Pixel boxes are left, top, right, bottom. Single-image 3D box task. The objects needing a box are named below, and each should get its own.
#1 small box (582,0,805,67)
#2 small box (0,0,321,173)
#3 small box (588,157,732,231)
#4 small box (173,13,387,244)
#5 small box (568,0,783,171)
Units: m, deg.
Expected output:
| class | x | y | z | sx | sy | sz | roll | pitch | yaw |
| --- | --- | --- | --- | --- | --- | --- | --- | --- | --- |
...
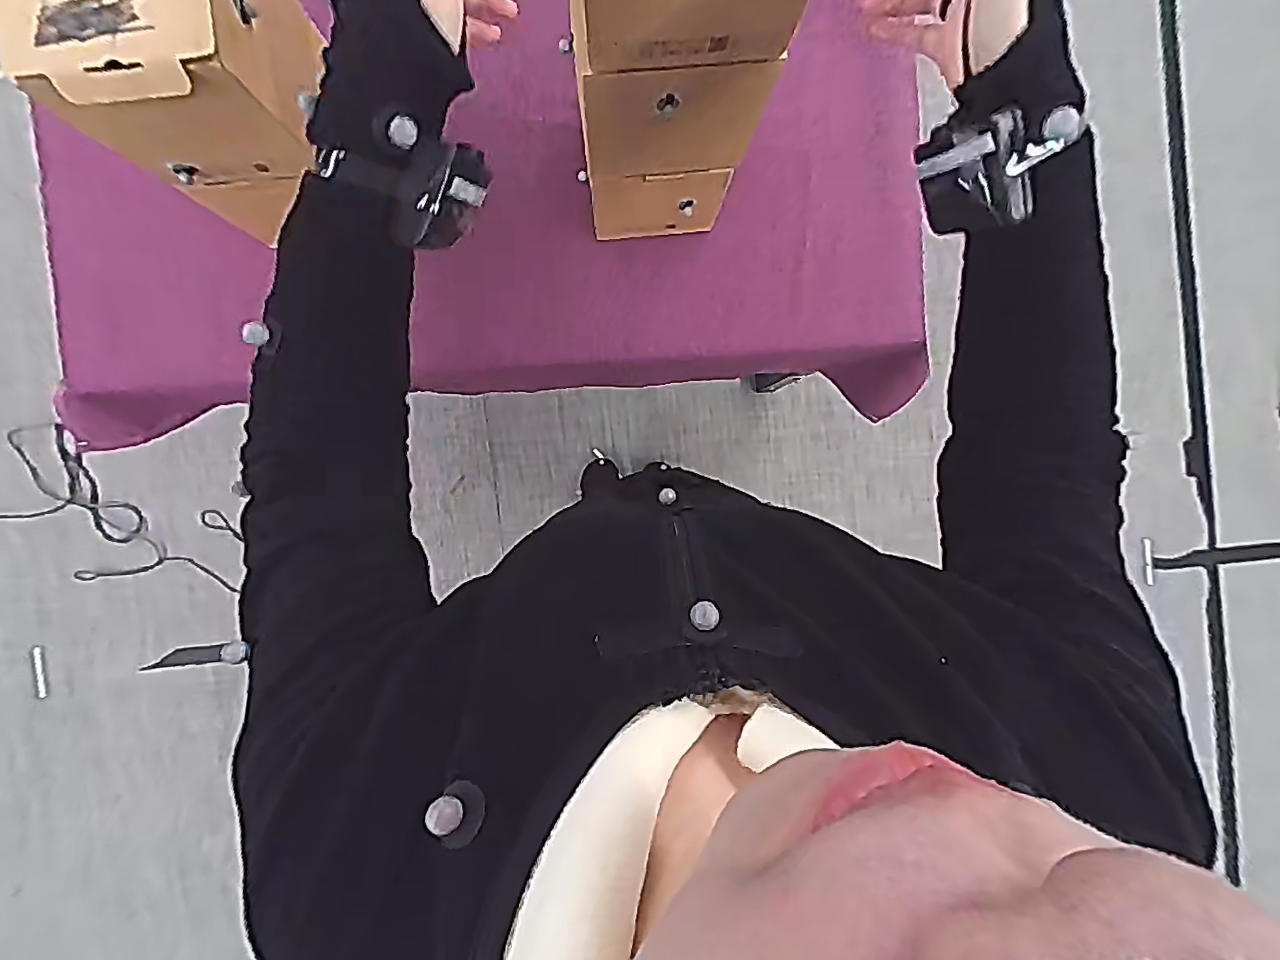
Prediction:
| class | x | y | z | sx | sy | sz | roll | pitch | yaw |
| --- | --- | --- | --- | --- | --- | --- | --- | --- | --- |
| small box | 0.035 | -0.423 | 0.357 | 0.168 | 0.176 | 0.179 | -6 | 92 | -3 |
| small box | -0.427 | -0.410 | 0.500 | 0.168 | 0.176 | 0.179 | -8 | 92 | -3 |
| small box | 0.015 | -0.432 | 0.684 | 0.168 | 0.176 | 0.179 | -5 | 92 | -3 |
| small box | -0.434 | -0.416 | 0.664 | 0.168 | 0.176 | 0.179 | -6 | 93 | -3 |
| small box | 0.022 | -0.423 | 0.521 | 0.179 | 0.176 | 0.168 | -6 | 93 | -3 |
